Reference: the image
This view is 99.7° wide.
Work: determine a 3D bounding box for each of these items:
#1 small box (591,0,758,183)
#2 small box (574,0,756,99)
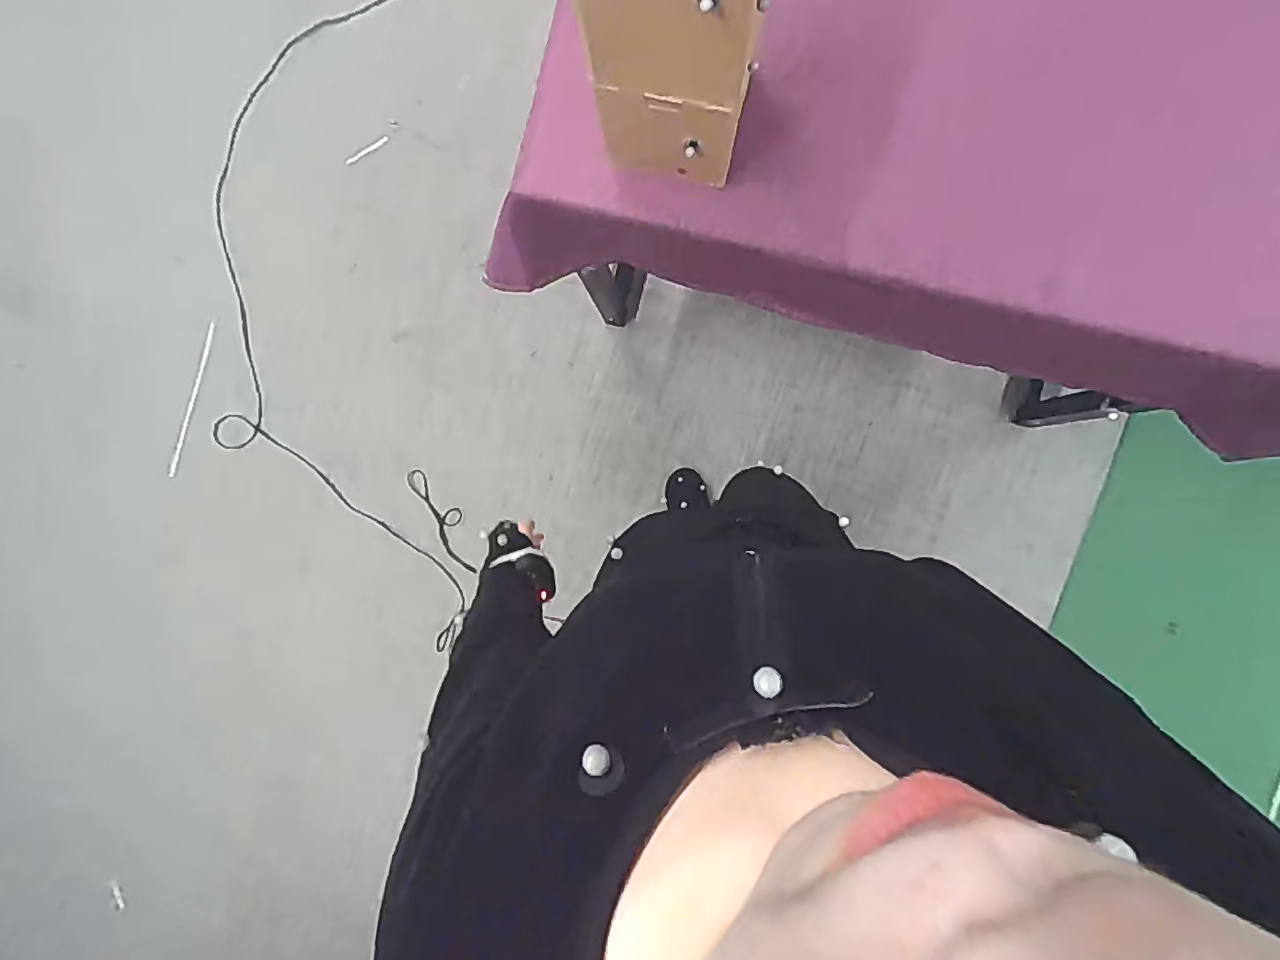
[{"bbox_3d":[0.048,-0.516,0.691,0.168,0.176,0.179,14,91,3],"label":"small box"},{"bbox_3d":[0.032,-0.516,0.529,0.179,0.176,0.168,12,92,3],"label":"small box"}]
